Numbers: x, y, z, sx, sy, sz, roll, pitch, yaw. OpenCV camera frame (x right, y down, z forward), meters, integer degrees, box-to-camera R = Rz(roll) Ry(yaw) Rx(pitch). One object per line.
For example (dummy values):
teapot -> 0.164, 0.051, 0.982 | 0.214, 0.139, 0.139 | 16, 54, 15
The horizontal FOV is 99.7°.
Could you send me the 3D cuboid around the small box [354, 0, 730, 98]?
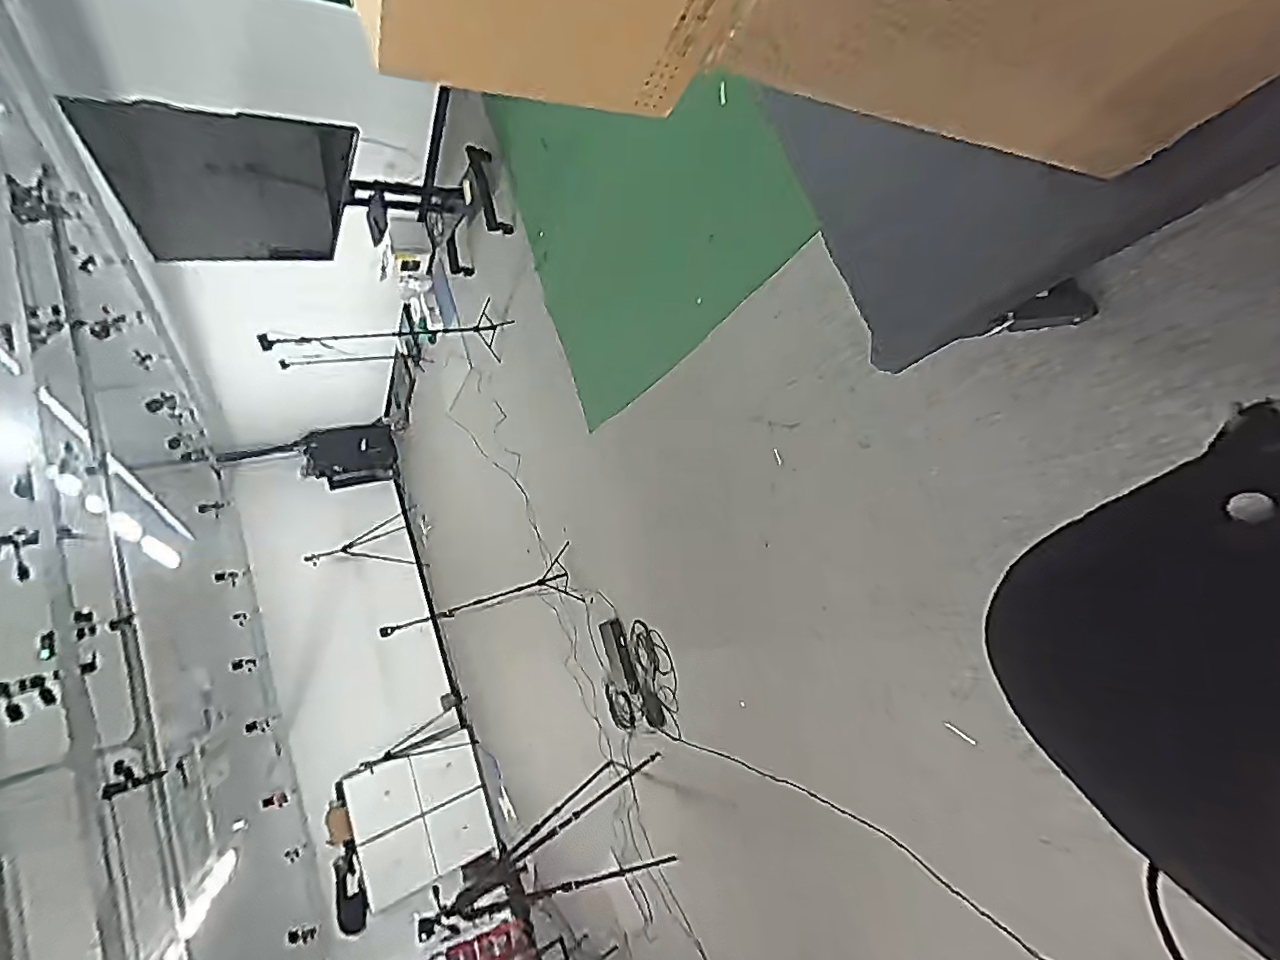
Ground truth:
small box -> -0.043, -0.311, 0.237 | 0.168, 0.176, 0.179 | -31, 75, 60
